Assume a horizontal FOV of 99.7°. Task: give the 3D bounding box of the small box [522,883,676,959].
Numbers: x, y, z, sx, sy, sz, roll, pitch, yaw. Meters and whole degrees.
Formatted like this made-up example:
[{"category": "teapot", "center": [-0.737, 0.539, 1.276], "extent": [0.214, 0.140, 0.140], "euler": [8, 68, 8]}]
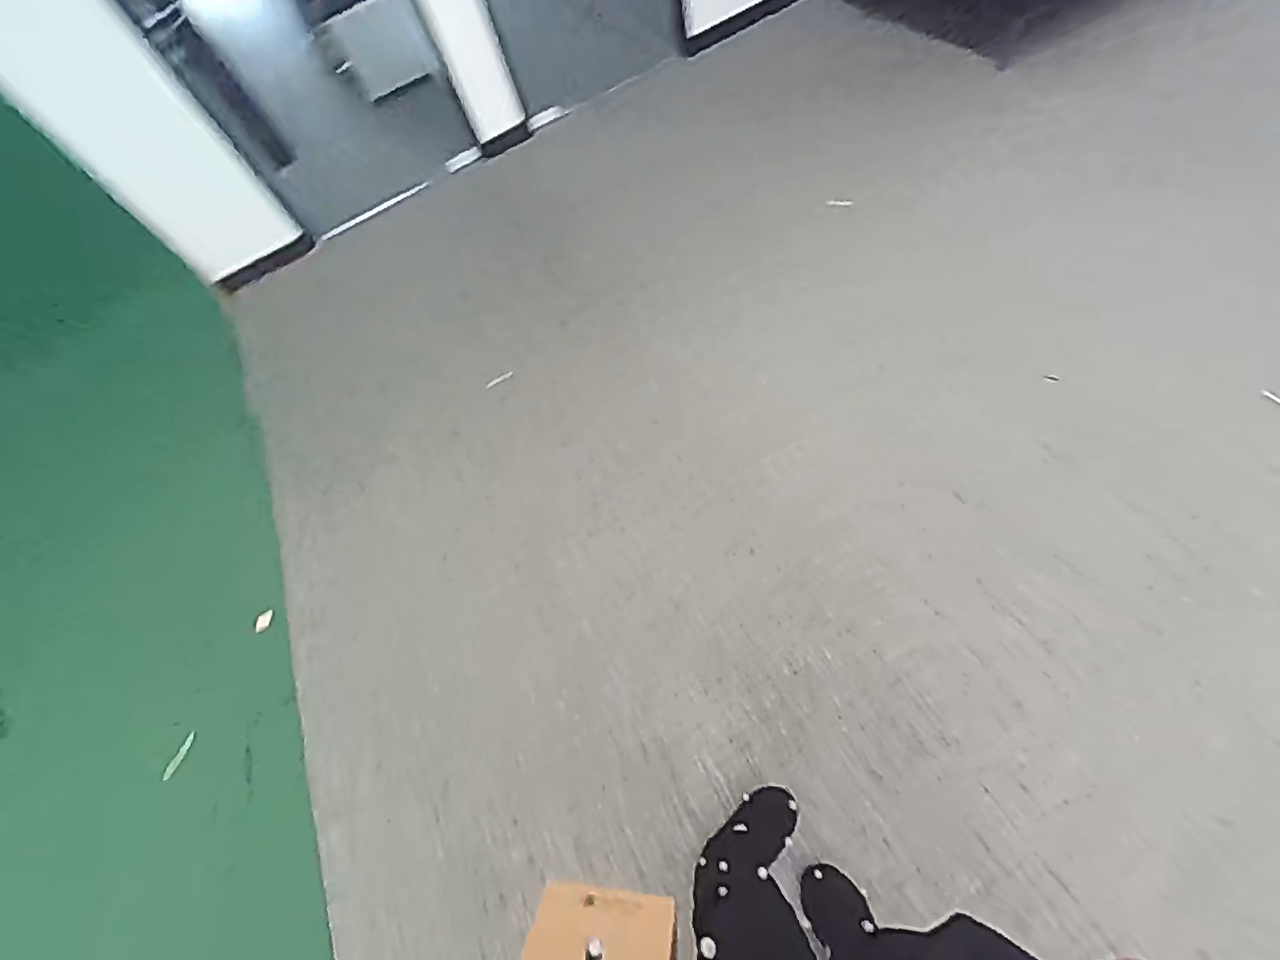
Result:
[{"category": "small box", "center": [-0.050, 0.606, 0.613], "extent": [0.168, 0.176, 0.179], "euler": [0, 102, 9]}]
